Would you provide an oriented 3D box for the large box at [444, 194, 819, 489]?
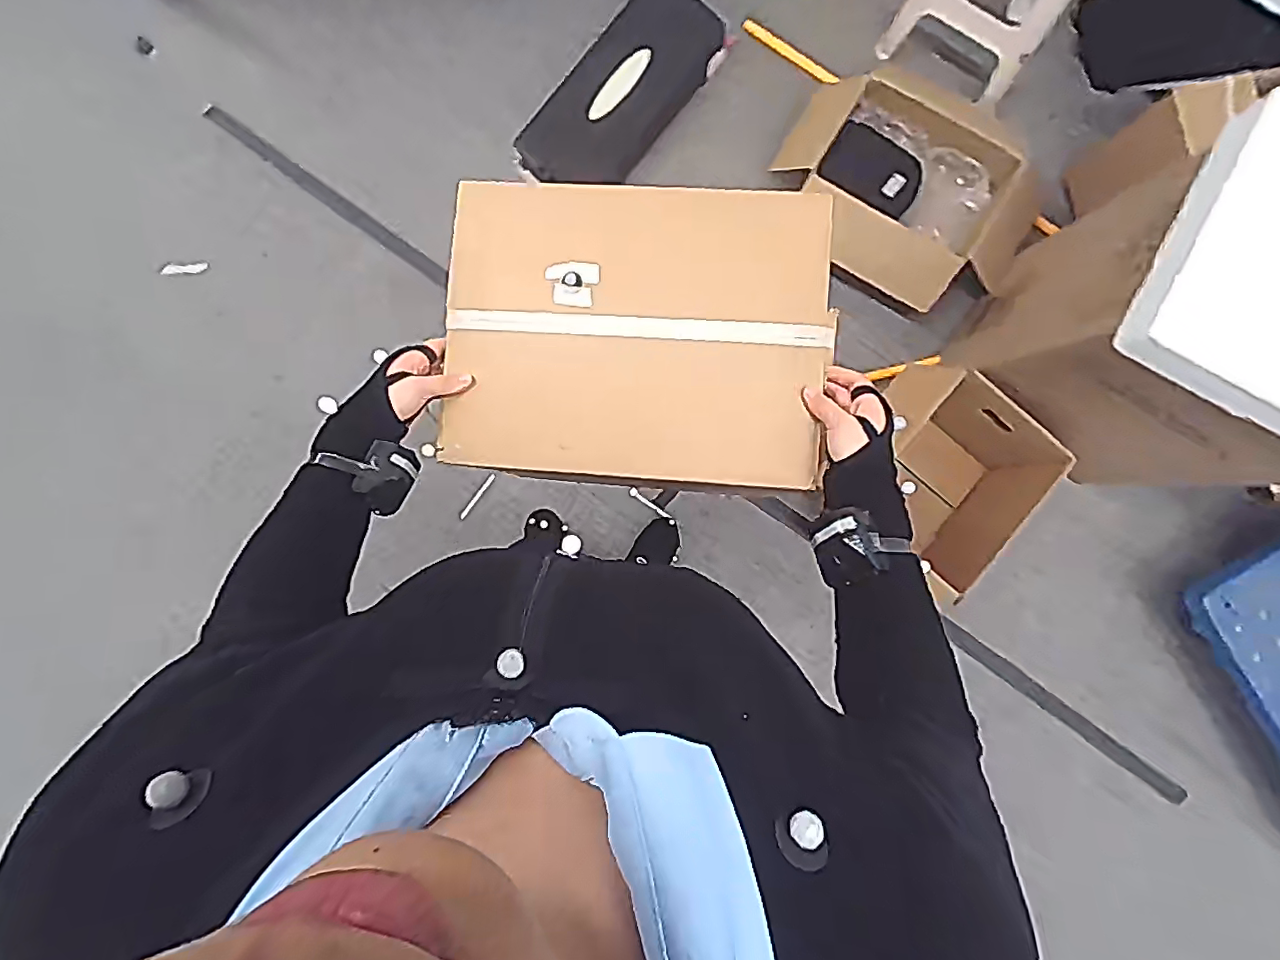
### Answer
[{"bbox_3d":[0.003,-0.150,0.731,0.408,0.320,0.320,3,86,6],"label":"large box"}]
